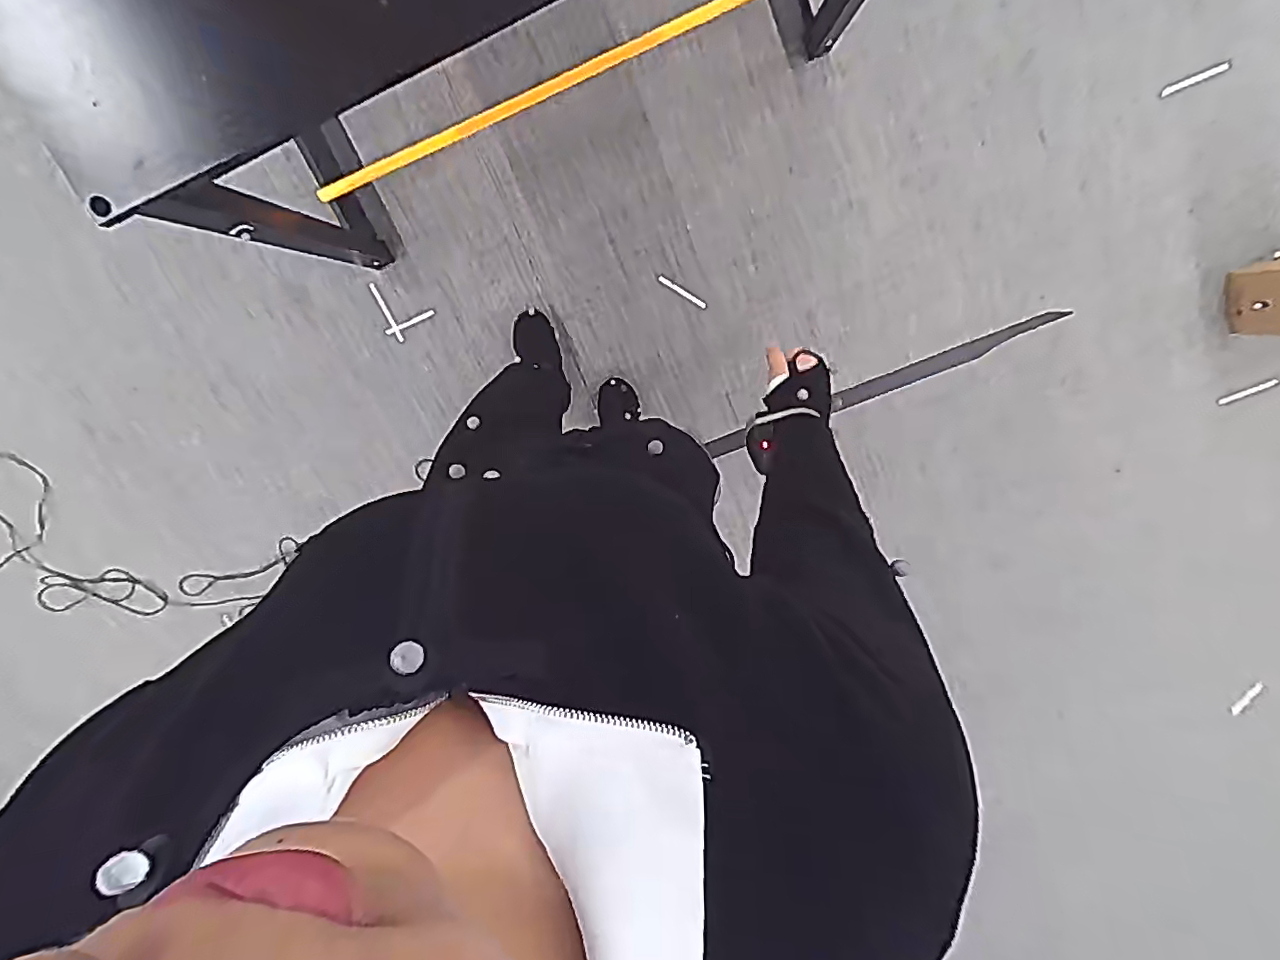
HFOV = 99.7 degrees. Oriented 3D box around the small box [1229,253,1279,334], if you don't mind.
[{"bbox_3d":[1.592,-0.459,1.309,0.179,0.176,0.168,-22,105,6],"label":"small box"}]
